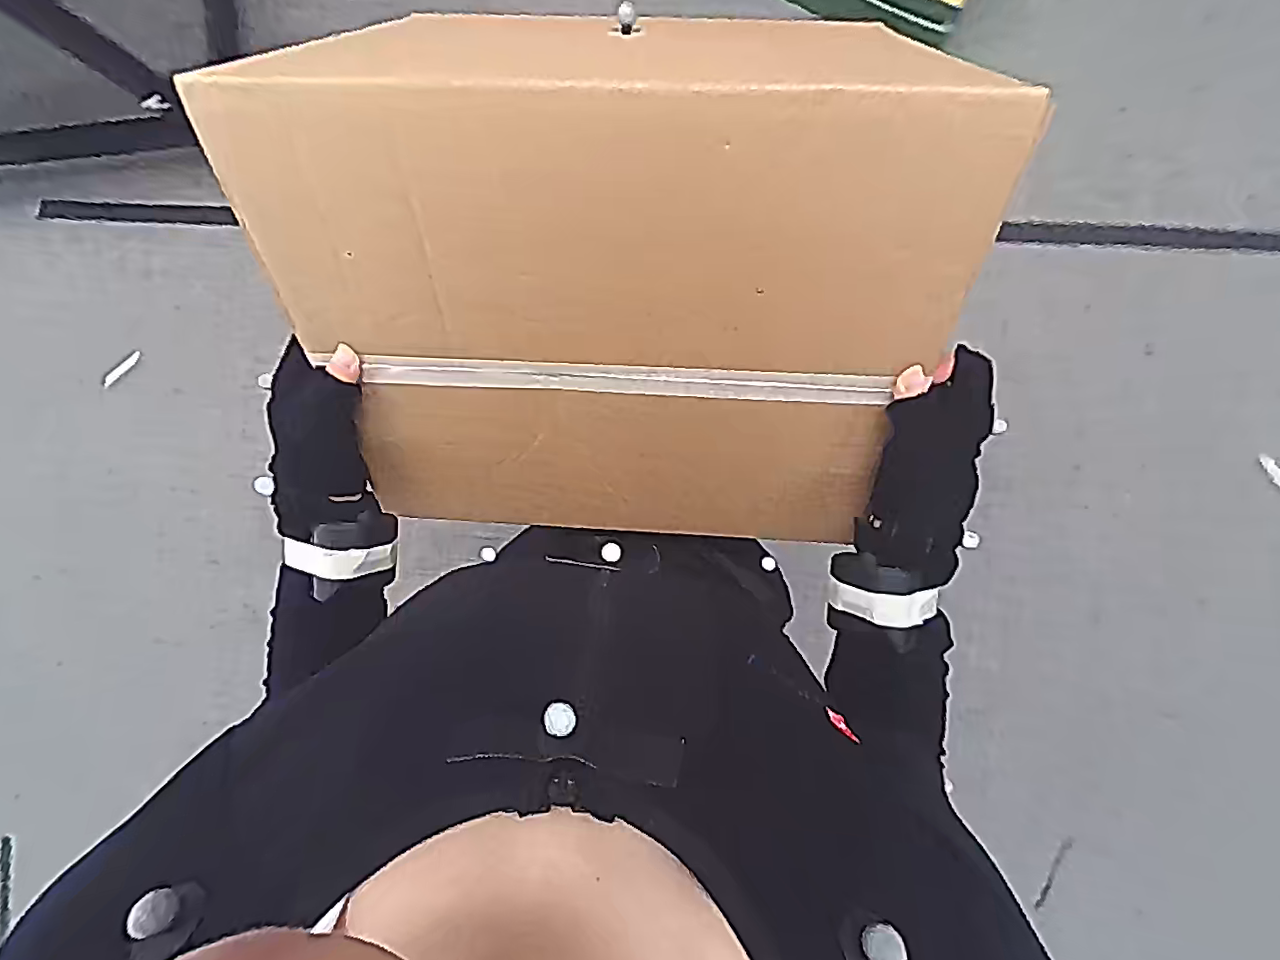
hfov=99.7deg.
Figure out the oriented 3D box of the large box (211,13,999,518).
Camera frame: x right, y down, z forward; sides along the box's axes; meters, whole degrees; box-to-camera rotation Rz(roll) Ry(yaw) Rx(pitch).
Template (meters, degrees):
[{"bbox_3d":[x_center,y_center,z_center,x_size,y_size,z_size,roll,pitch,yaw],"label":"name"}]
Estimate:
[{"bbox_3d":[-0.012,-0.185,0.474,0.408,0.320,0.320,2,135,3],"label":"large box"}]
